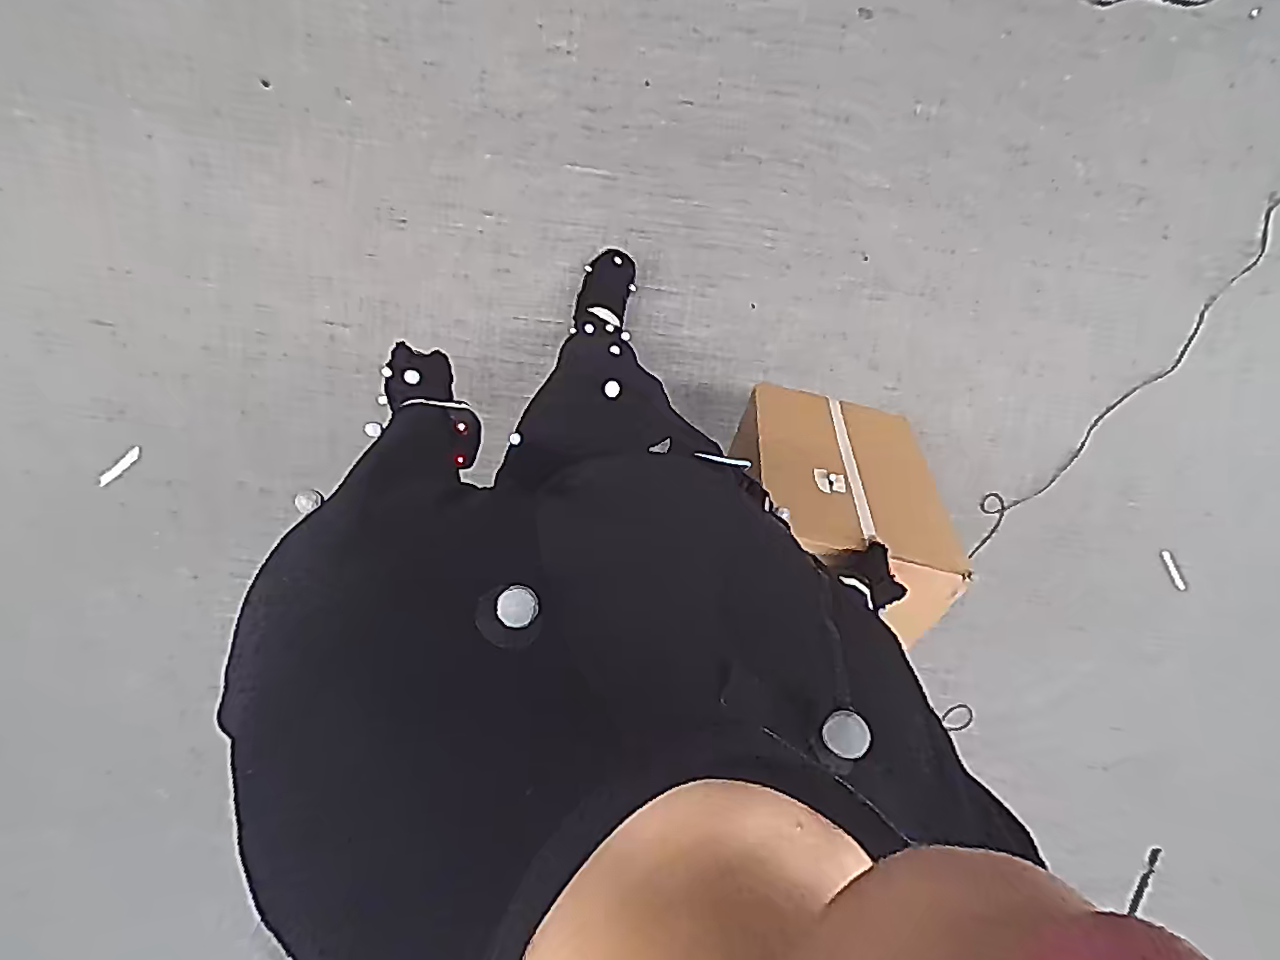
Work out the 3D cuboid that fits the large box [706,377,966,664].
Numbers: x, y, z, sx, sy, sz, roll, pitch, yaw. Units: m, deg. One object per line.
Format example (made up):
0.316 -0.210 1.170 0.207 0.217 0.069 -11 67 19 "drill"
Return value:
0.313 0.068 1.015 0.320 0.408 0.320 11 133 -2 "large box"
